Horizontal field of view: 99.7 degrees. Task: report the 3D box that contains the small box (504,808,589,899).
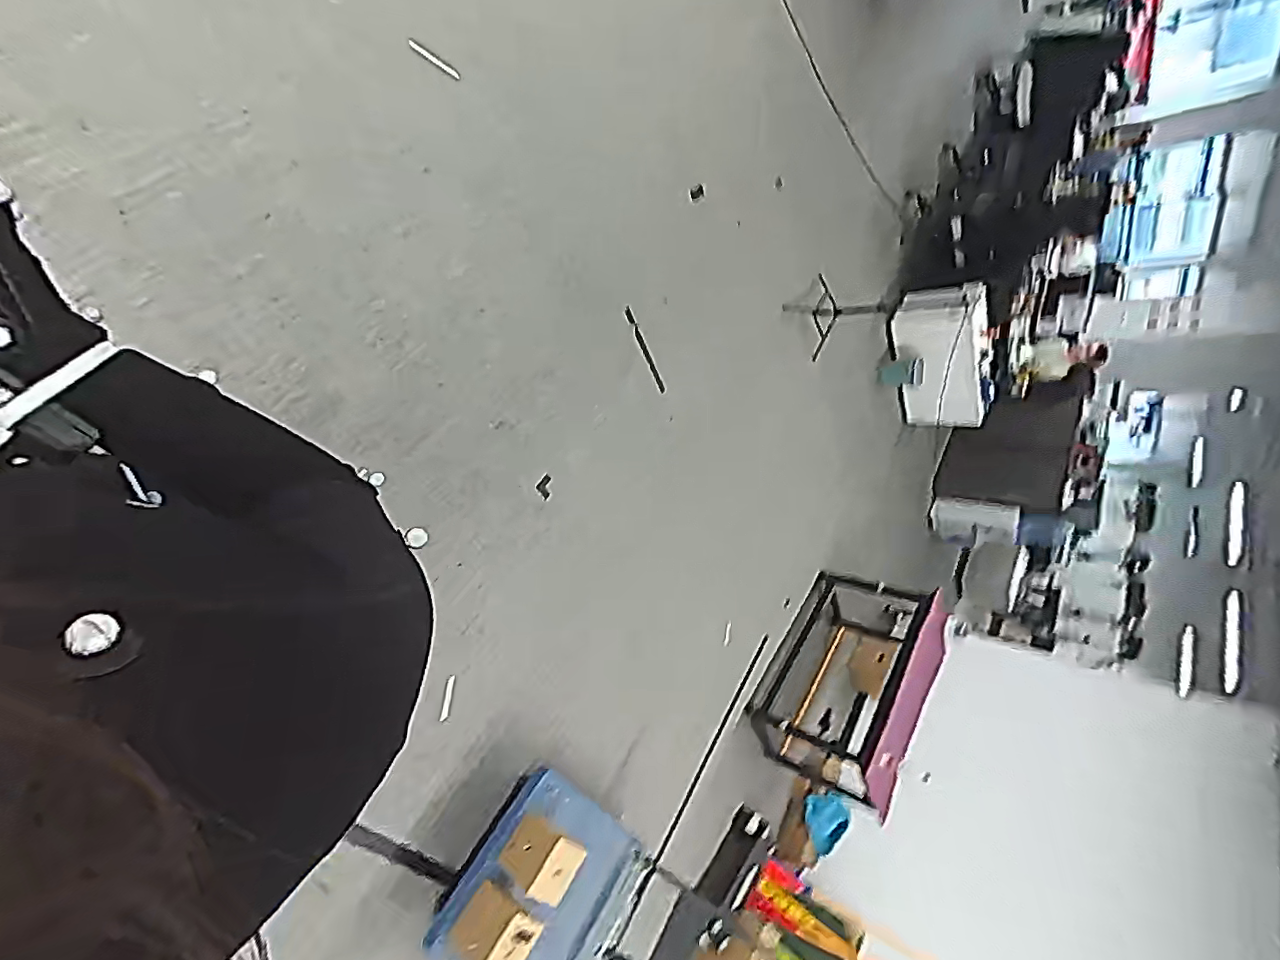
[{"bbox_3d":[-0.306,1.201,1.748,0.168,0.176,0.179,-54,133,-27],"label":"small box"}]
